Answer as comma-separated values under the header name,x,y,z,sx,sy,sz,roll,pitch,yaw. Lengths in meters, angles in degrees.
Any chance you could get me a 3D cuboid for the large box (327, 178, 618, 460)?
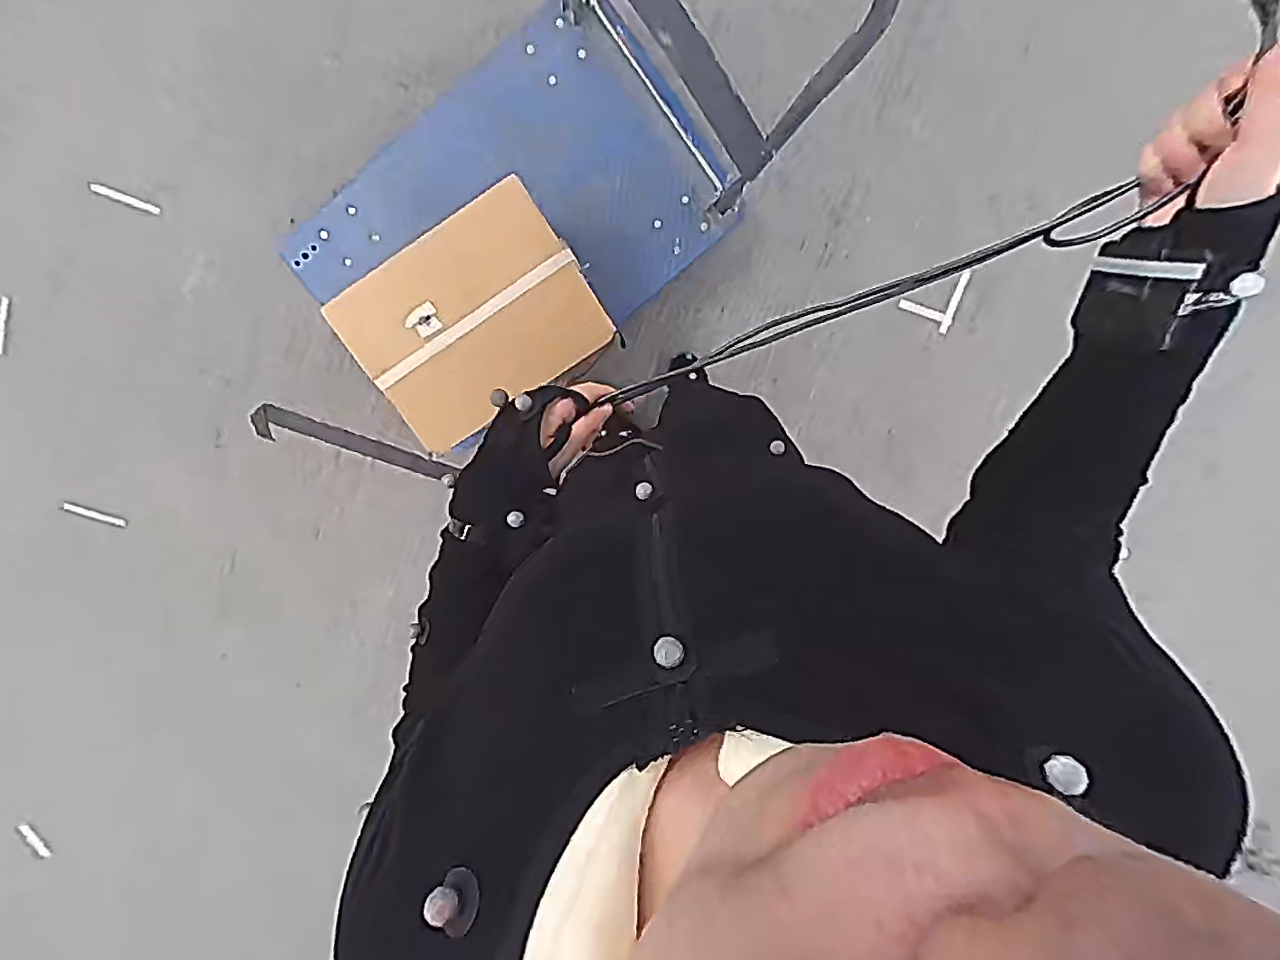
name,x,y,z,sx,sy,sz,roll,pitch,yaw
large box,-0.293,-0.299,1.073,0.408,0.320,0.320,-33,102,4
